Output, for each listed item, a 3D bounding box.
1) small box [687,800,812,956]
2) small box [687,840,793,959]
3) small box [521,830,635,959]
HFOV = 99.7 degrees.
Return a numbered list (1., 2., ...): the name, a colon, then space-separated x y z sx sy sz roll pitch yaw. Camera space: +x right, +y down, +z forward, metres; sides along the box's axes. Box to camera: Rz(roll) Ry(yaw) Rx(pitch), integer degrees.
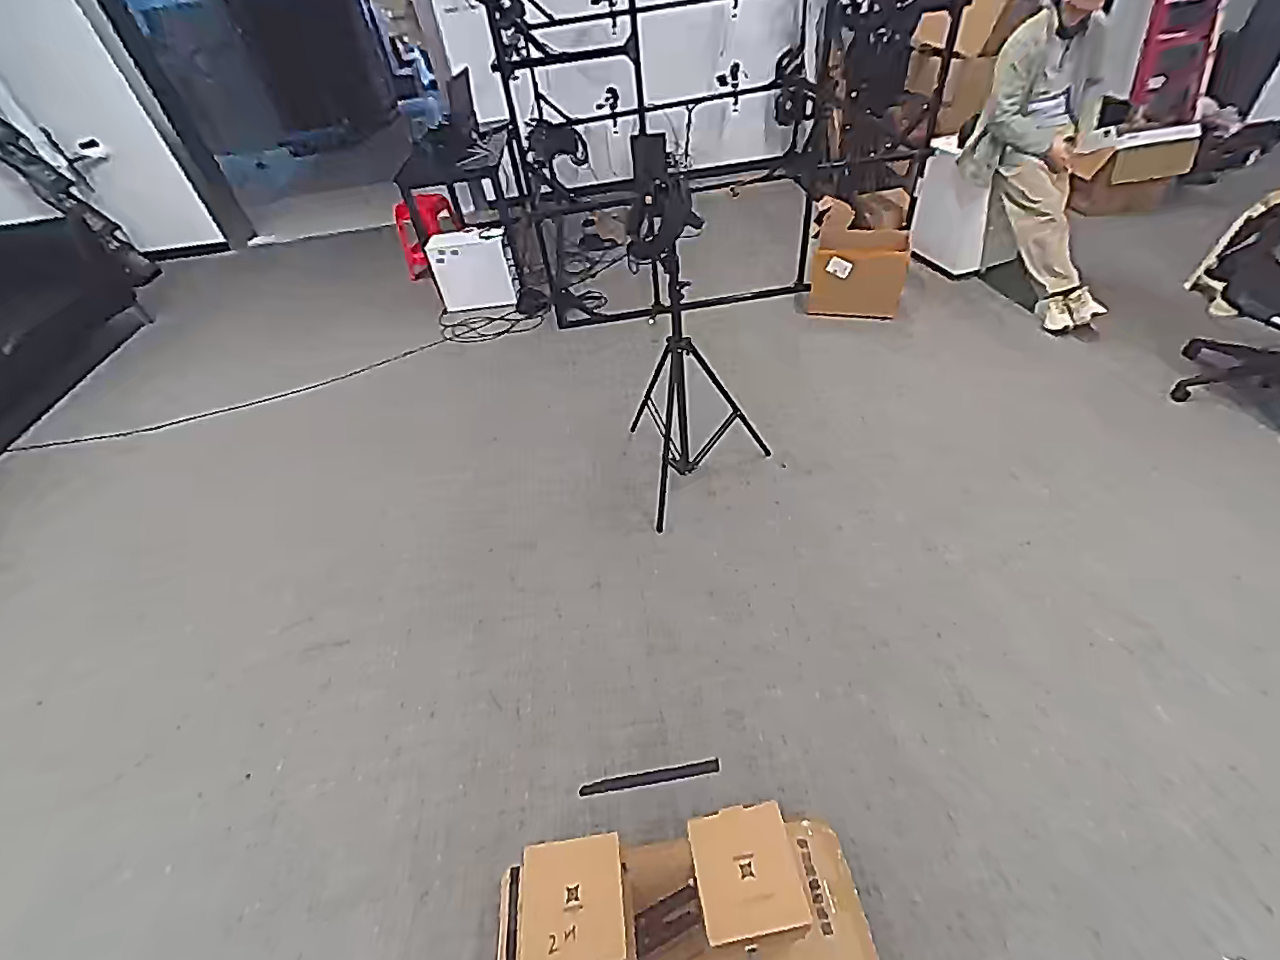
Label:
1. small box: 0.181 0.693 0.942 0.168 0.176 0.179 -12 44 -2
2. small box: 0.192 0.811 1.056 0.168 0.176 0.179 -10 44 1
3. small box: -0.102 0.738 0.933 0.168 0.176 0.179 -8 43 -1
